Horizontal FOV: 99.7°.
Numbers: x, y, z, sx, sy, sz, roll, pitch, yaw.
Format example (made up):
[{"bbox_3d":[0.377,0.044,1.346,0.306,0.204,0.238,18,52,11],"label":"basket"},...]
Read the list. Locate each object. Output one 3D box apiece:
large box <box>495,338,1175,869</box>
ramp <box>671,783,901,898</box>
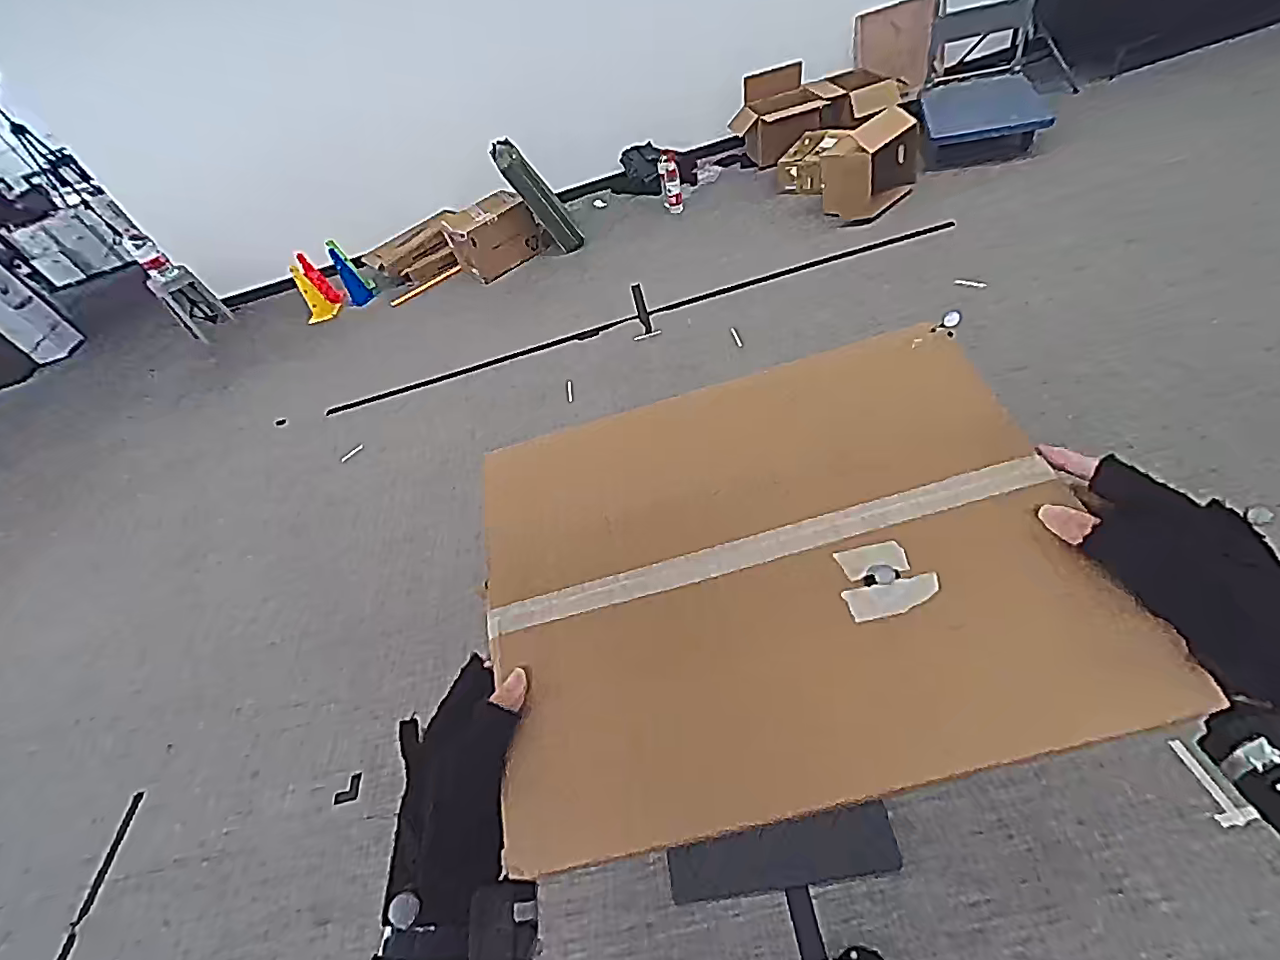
[{"bbox_3d":[0.117,0.132,0.524,0.408,0.320,0.320,-17,58,3],"label":"large box"},{"bbox_3d":[0.248,0.445,1.424,0.509,0.206,0.991,-15,47,4],"label":"ramp"}]
